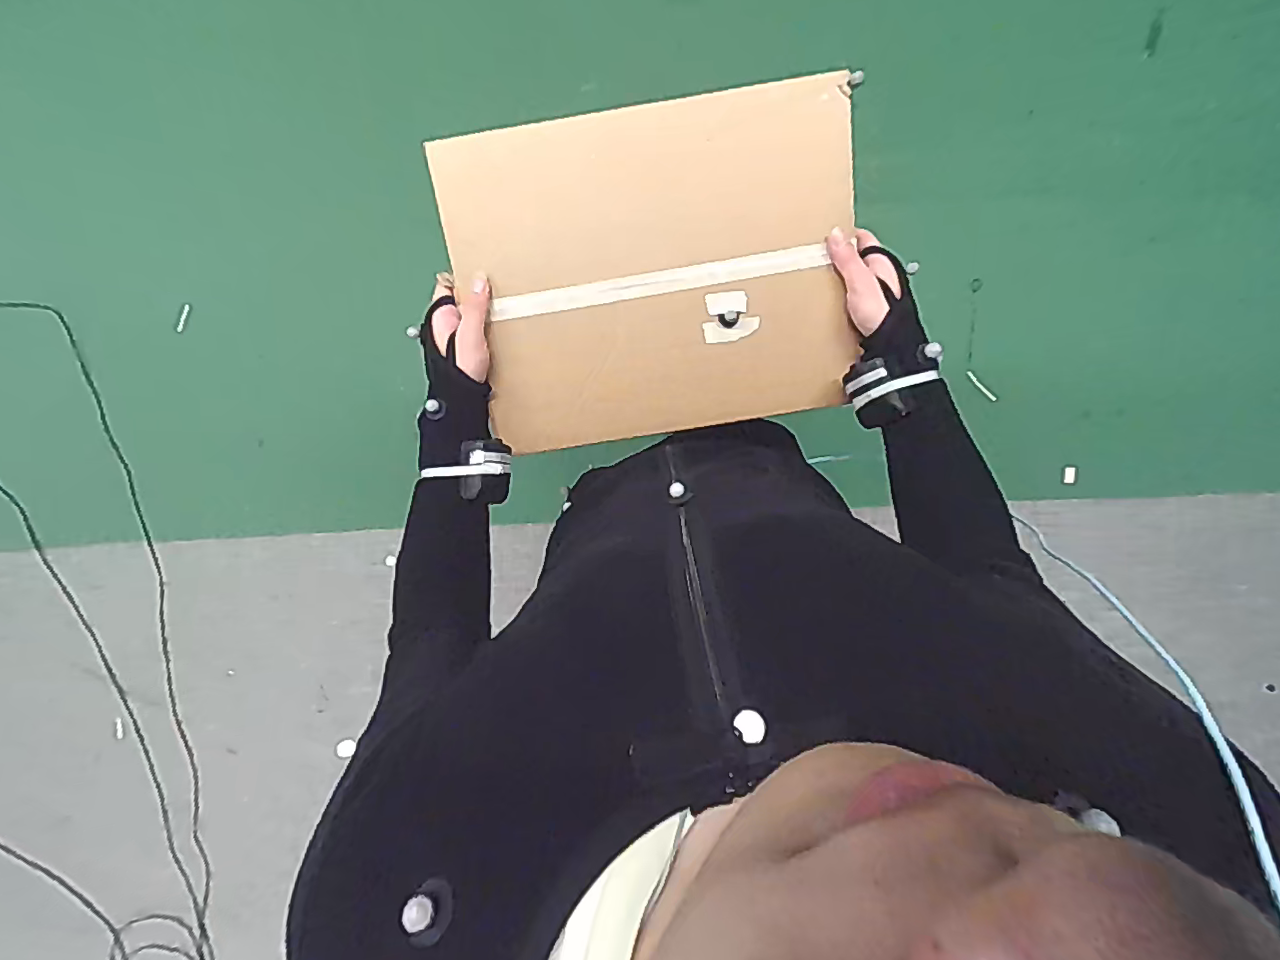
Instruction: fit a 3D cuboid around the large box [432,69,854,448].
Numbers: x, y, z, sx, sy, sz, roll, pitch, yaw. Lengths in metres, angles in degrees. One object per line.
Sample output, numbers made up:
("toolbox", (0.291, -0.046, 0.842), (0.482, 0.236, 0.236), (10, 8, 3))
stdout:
("large box", (0.010, -0.254, 0.705), (0.408, 0.320, 0.320), (-10, 107, 0))
